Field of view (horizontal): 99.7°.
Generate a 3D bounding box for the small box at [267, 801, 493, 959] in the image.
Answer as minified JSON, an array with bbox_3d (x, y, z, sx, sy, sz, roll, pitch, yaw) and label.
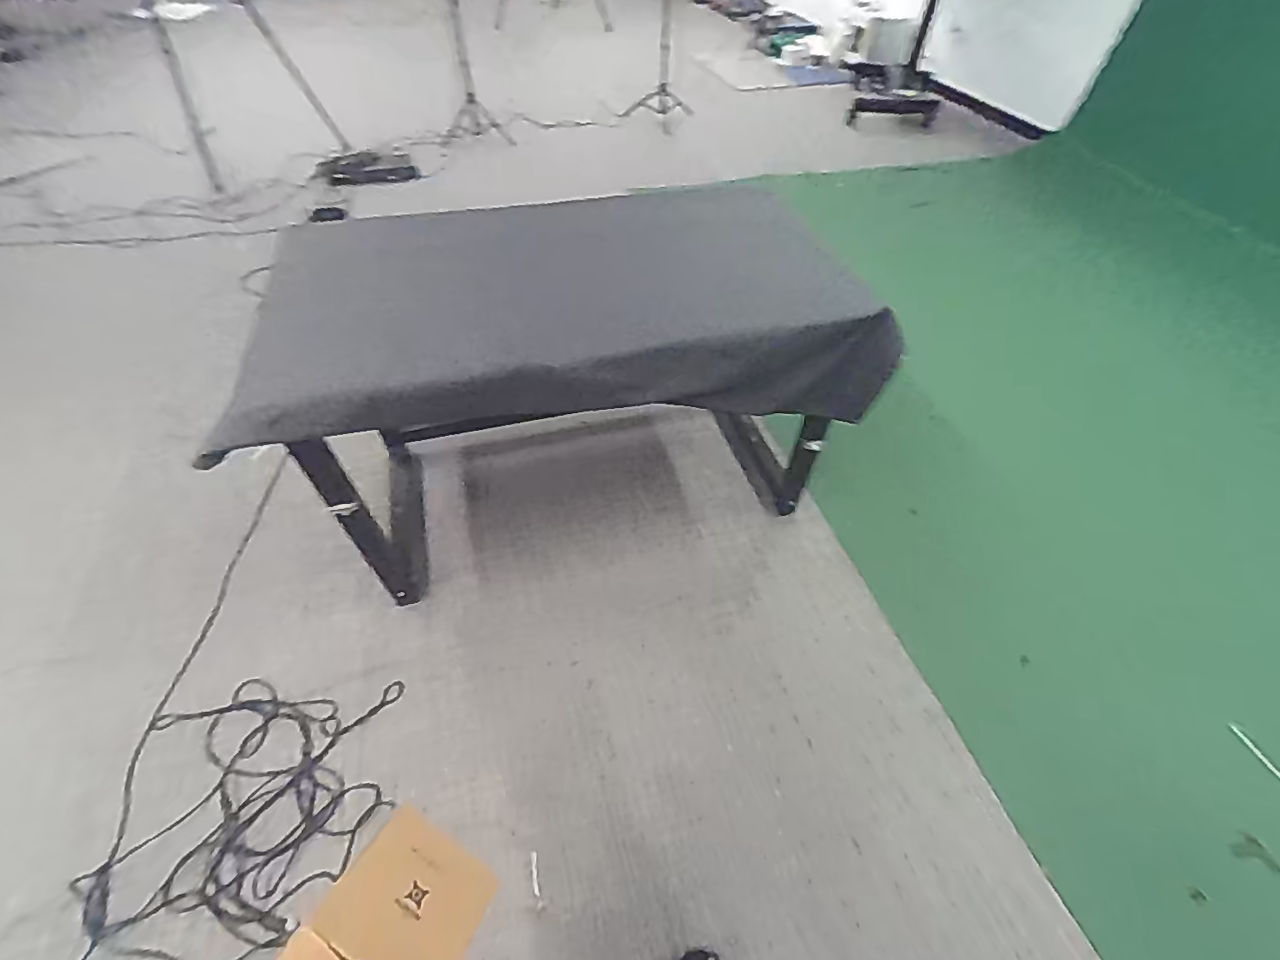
[{"bbox_3d":[-0.306,0.529,0.614,0.168,0.179,0.176,38,100,-1],"label":"small box"}]
